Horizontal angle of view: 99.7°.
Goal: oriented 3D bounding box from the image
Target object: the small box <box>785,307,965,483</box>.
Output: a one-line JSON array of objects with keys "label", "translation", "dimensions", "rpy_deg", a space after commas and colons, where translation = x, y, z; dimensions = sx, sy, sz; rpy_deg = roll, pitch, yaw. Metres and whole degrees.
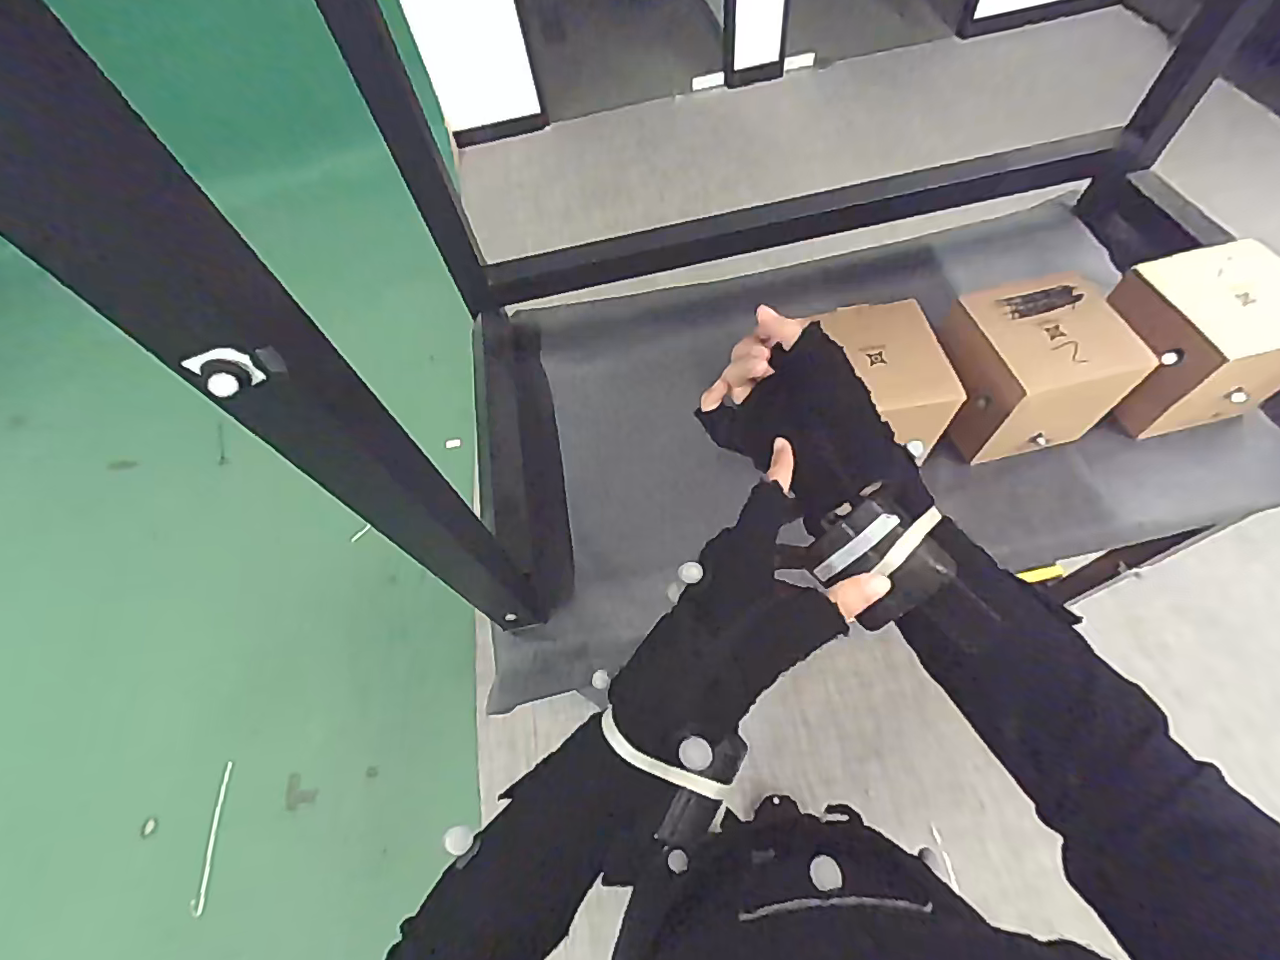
[{"label": "small box", "translation": [0.313, -0.109, 0.764], "dimensions": [0.168, 0.176, 0.179], "rpy_deg": [-9, 59, 2]}]

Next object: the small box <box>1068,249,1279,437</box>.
[{"label": "small box", "translation": [0.756, -0.177, 0.742], "dimensions": [0.168, 0.176, 0.179], "rpy_deg": [-13, 59, -1]}]
